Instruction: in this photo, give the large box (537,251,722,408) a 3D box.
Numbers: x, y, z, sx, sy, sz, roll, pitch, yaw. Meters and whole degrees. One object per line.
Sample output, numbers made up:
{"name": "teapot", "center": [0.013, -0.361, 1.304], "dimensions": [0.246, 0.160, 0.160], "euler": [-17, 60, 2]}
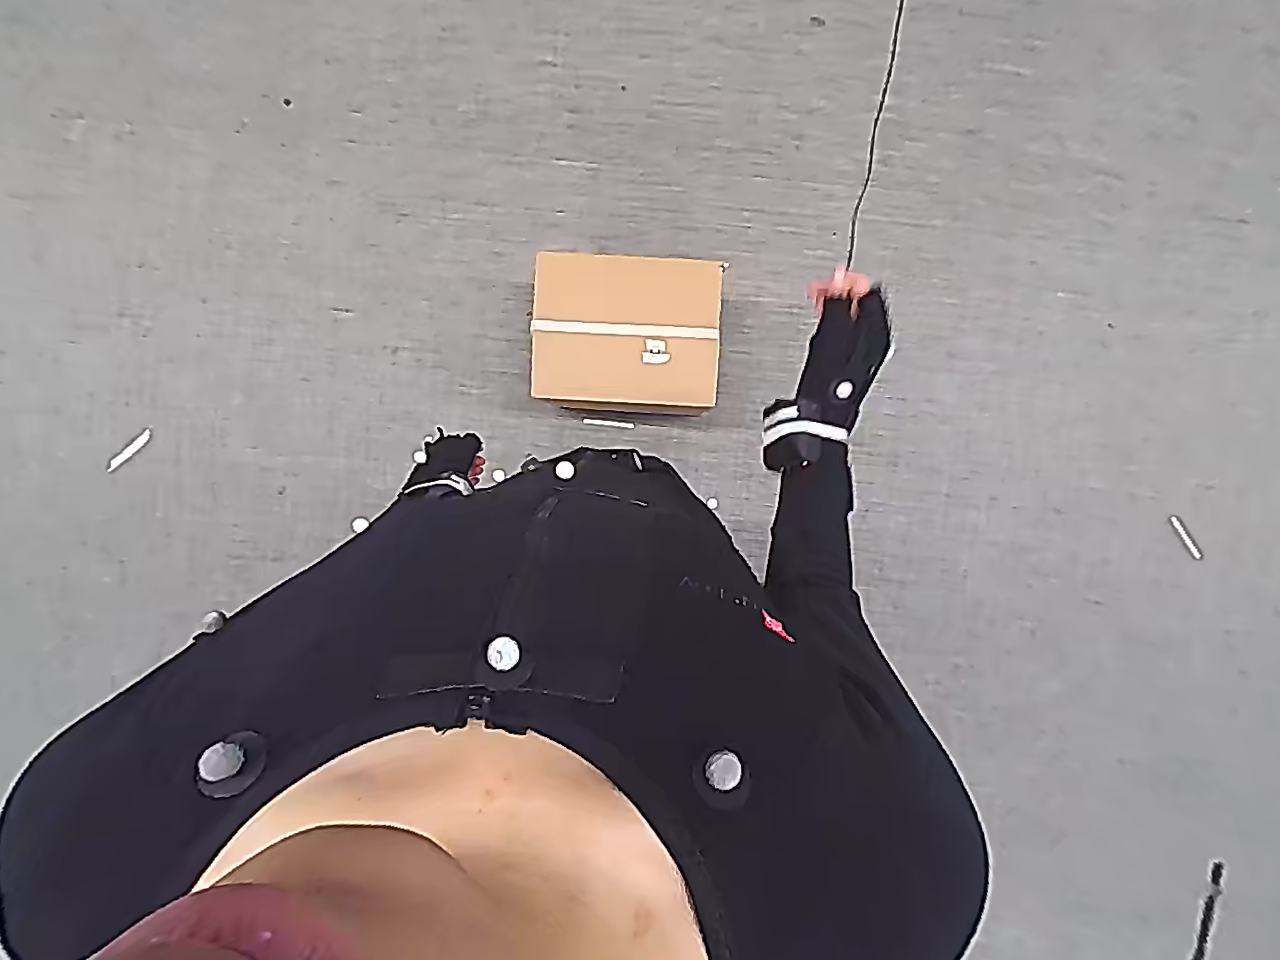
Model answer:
{"name": "large box", "center": [-0.027, -0.346, 1.328], "dimensions": [0.408, 0.320, 0.320], "euler": [3, 94, -1]}
